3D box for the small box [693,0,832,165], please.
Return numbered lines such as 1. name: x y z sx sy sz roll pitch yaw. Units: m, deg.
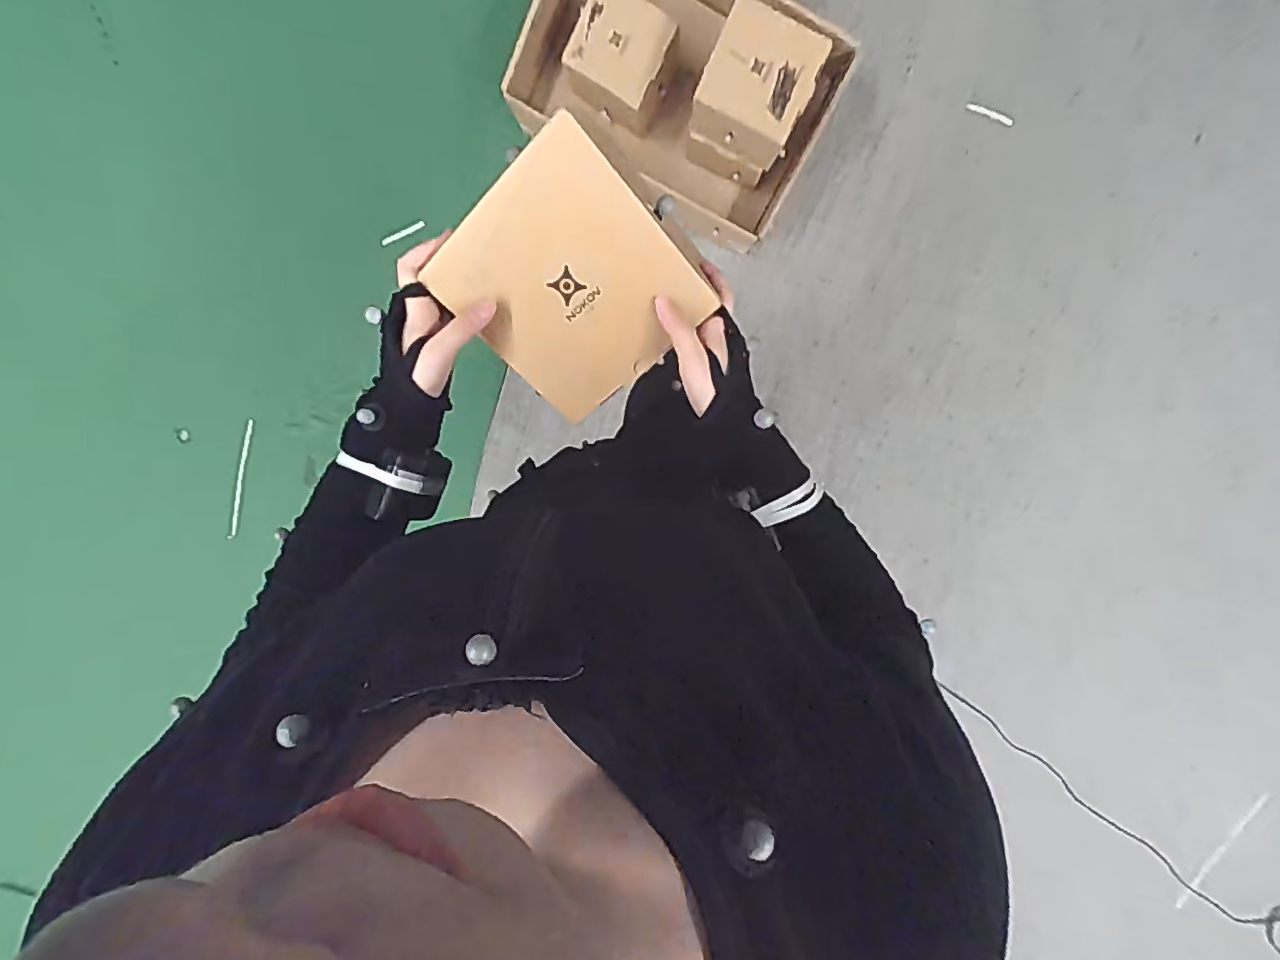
1. small box: 0.208 -0.698 0.971 0.179 0.176 0.168 26 106 -3
